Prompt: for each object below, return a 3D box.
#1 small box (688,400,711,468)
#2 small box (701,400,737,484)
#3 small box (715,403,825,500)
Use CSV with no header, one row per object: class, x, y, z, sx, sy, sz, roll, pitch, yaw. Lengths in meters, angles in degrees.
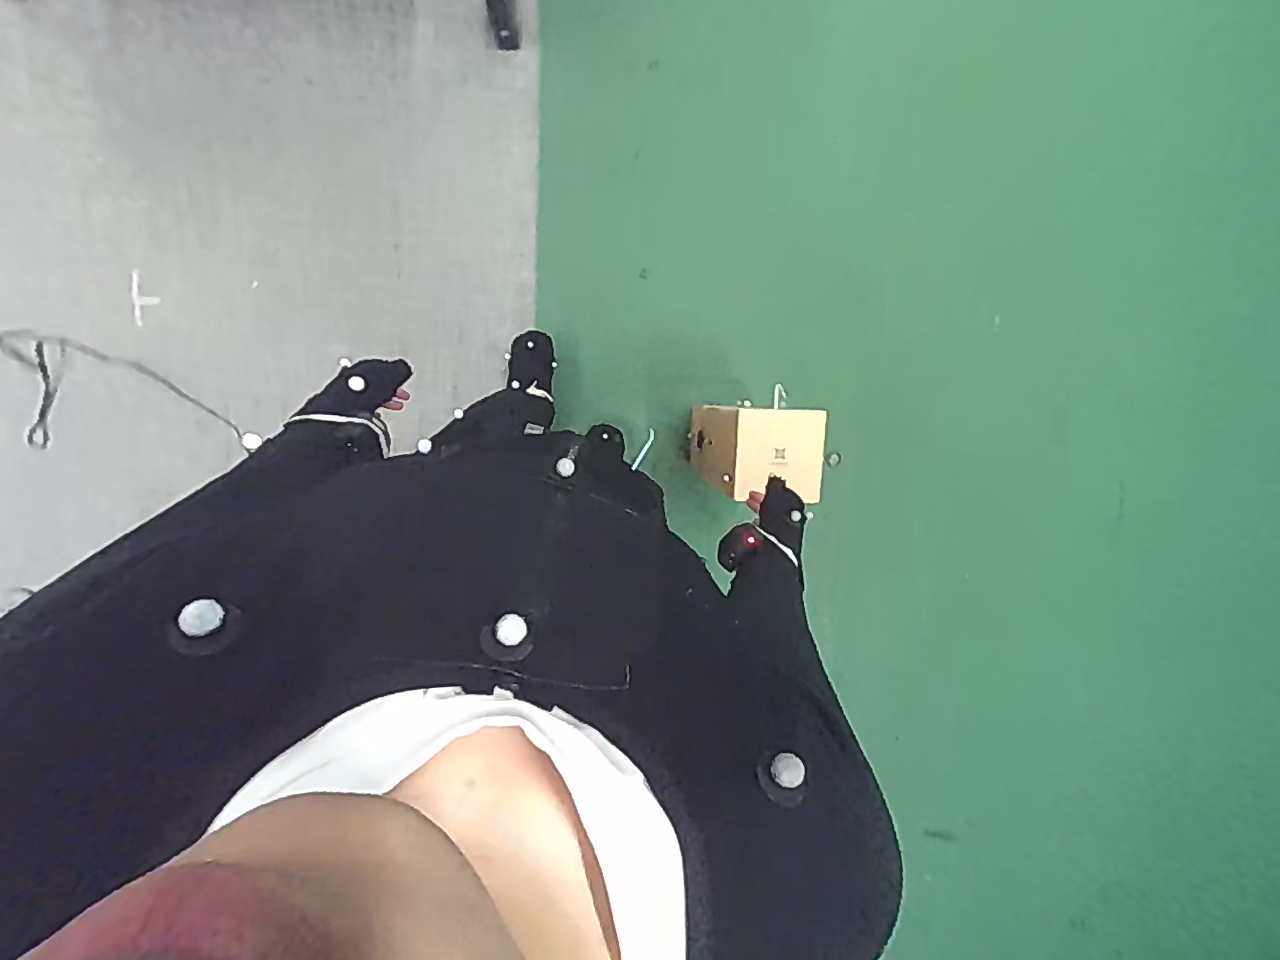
small box,0.227,-0.117,1.395,0.179,0.176,0.168,3,98,-3
small box,0.239,-0.084,1.232,0.168,0.176,0.179,5,99,-6
small box,0.249,-0.062,1.073,0.168,0.176,0.179,2,100,-4
